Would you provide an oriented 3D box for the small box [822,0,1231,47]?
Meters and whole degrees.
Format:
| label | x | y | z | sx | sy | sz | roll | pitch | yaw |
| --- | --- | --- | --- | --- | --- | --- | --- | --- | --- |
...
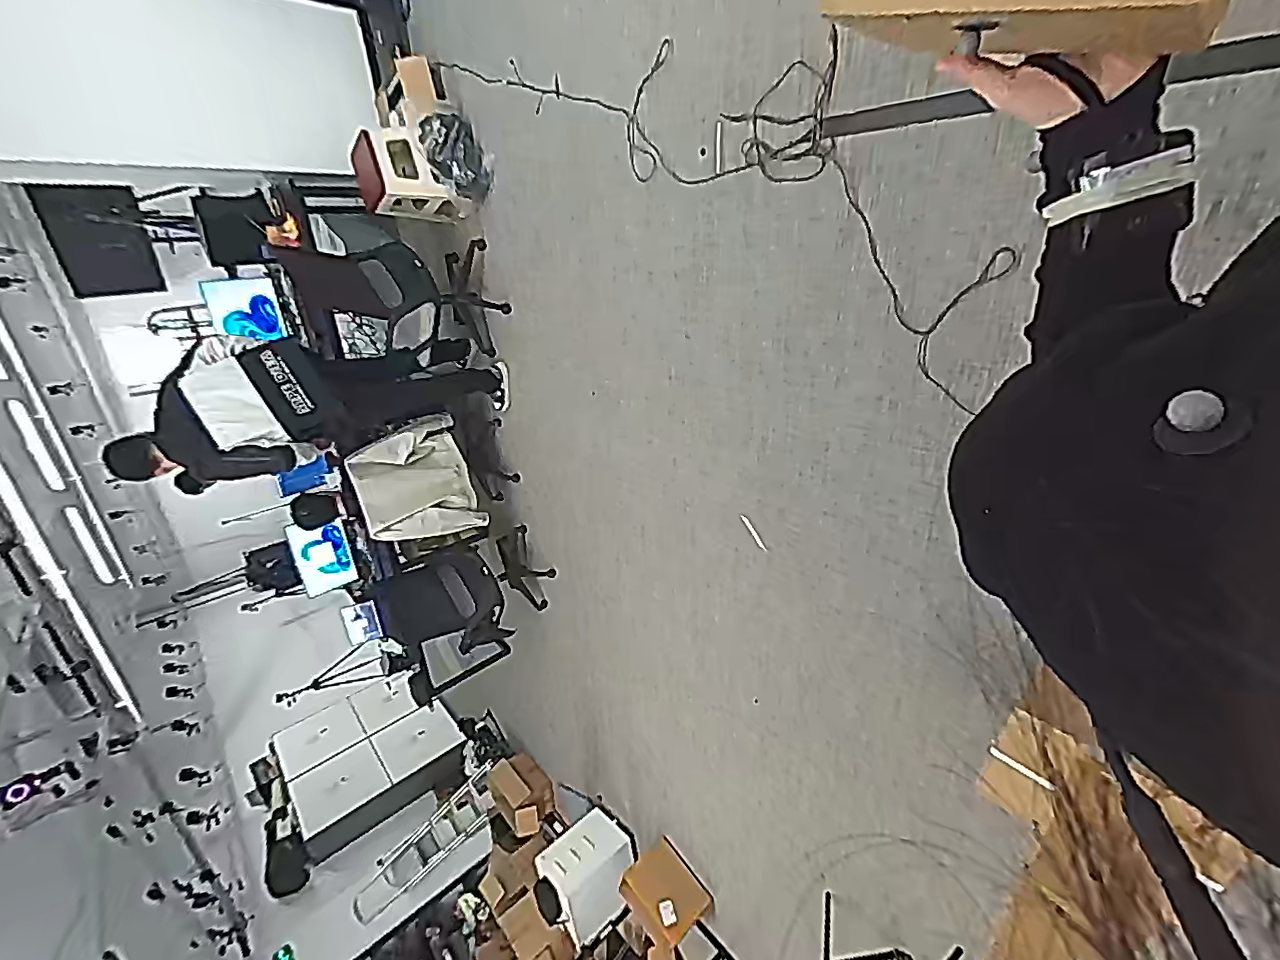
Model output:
| label | x | y | z | sx | sy | sz | roll | pitch | yaw |
| --- | --- | --- | --- | --- | --- | --- | --- | --- | --- |
| small box | 0.223 | -0.327 | 0.266 | 0.179 | 0.176 | 0.168 | 28 | 131 | 30 |

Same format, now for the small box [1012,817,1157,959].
| label | x | y | z | sx | sy | sz | roll | pitch | yaw |
| --- | --- | --- | --- | --- | --- | --- | --- | --- | --- |
| small box | 0.818 | 0.782 | 1.005 | 0.168 | 0.176 | 0.179 | 28 | 128 | 41 |

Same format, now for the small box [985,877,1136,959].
| label | x | y | z | sx | sy | sz | roll | pitch | yaw |
| --- | --- | --- | --- | --- | --- | --- | --- | --- | --- |
| small box | 0.695 | 0.829 | 0.909 | 0.168 | 0.176 | 0.179 | 25 | 127 | 42 |
